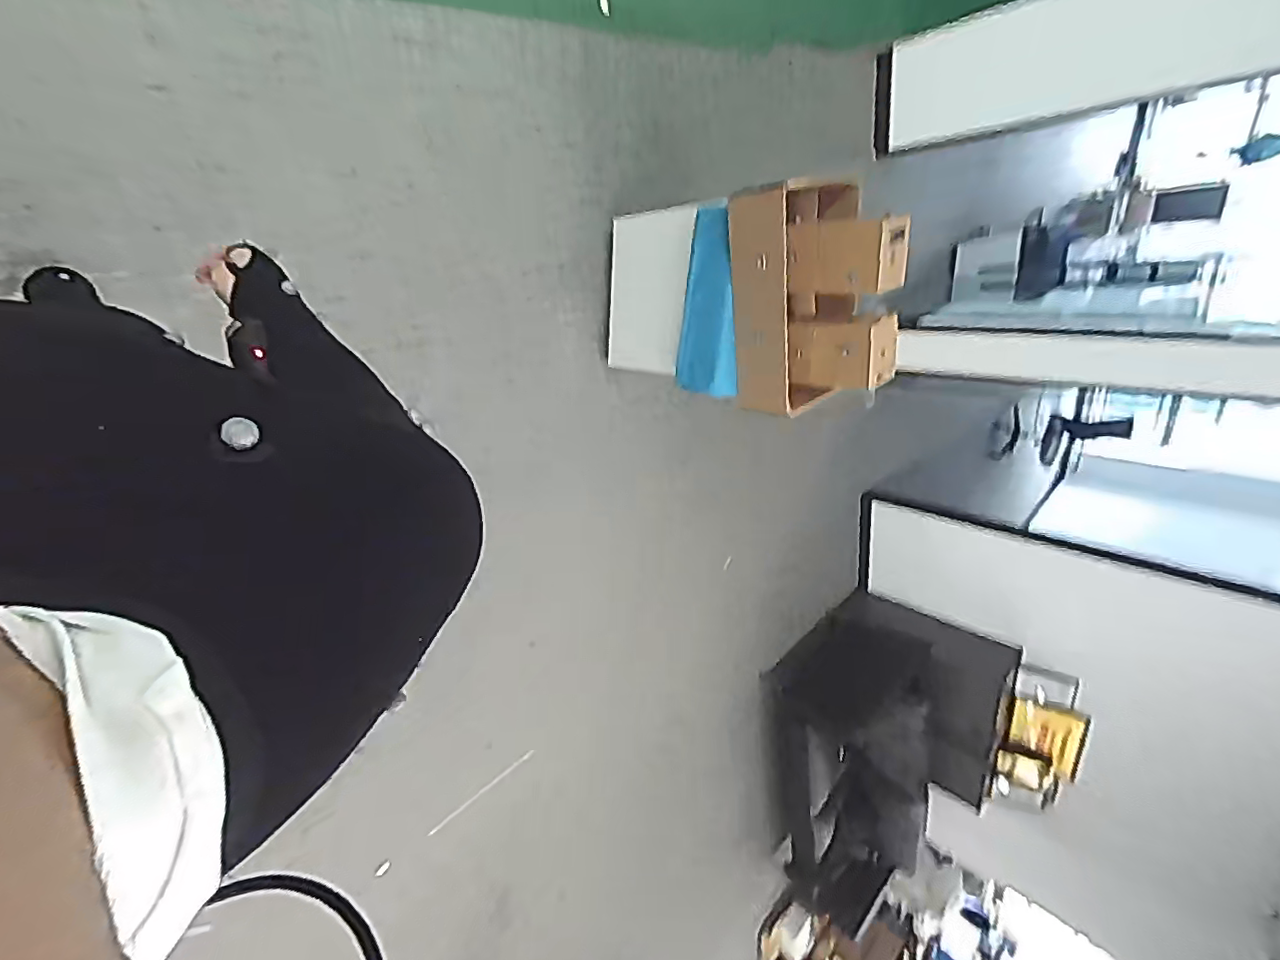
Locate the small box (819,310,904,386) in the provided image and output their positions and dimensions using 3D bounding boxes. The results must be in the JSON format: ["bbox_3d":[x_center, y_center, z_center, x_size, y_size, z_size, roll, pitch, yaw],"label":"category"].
[{"bbox_3d":[0.617,-0.372,1.517,0.168,0.176,0.179,-27,120,-35],"label":"small box"}]
